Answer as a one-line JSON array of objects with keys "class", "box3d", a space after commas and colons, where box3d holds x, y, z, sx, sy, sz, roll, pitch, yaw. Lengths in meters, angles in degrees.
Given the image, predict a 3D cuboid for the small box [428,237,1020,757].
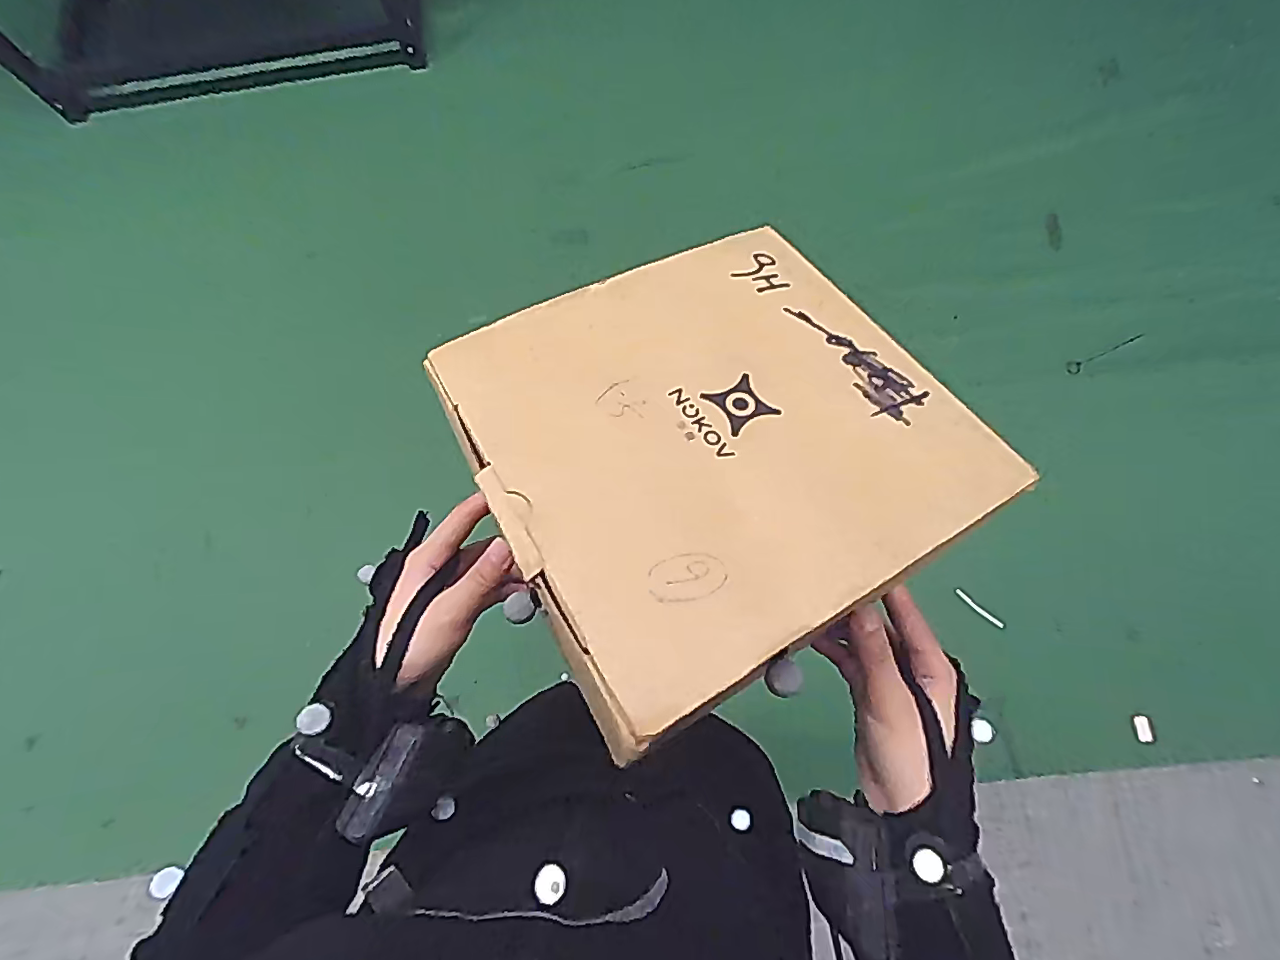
[{"class": "small box", "box3d": [0.025, 0.018, 0.277, 0.179, 0.176, 0.168, -26, 64, -17]}]
